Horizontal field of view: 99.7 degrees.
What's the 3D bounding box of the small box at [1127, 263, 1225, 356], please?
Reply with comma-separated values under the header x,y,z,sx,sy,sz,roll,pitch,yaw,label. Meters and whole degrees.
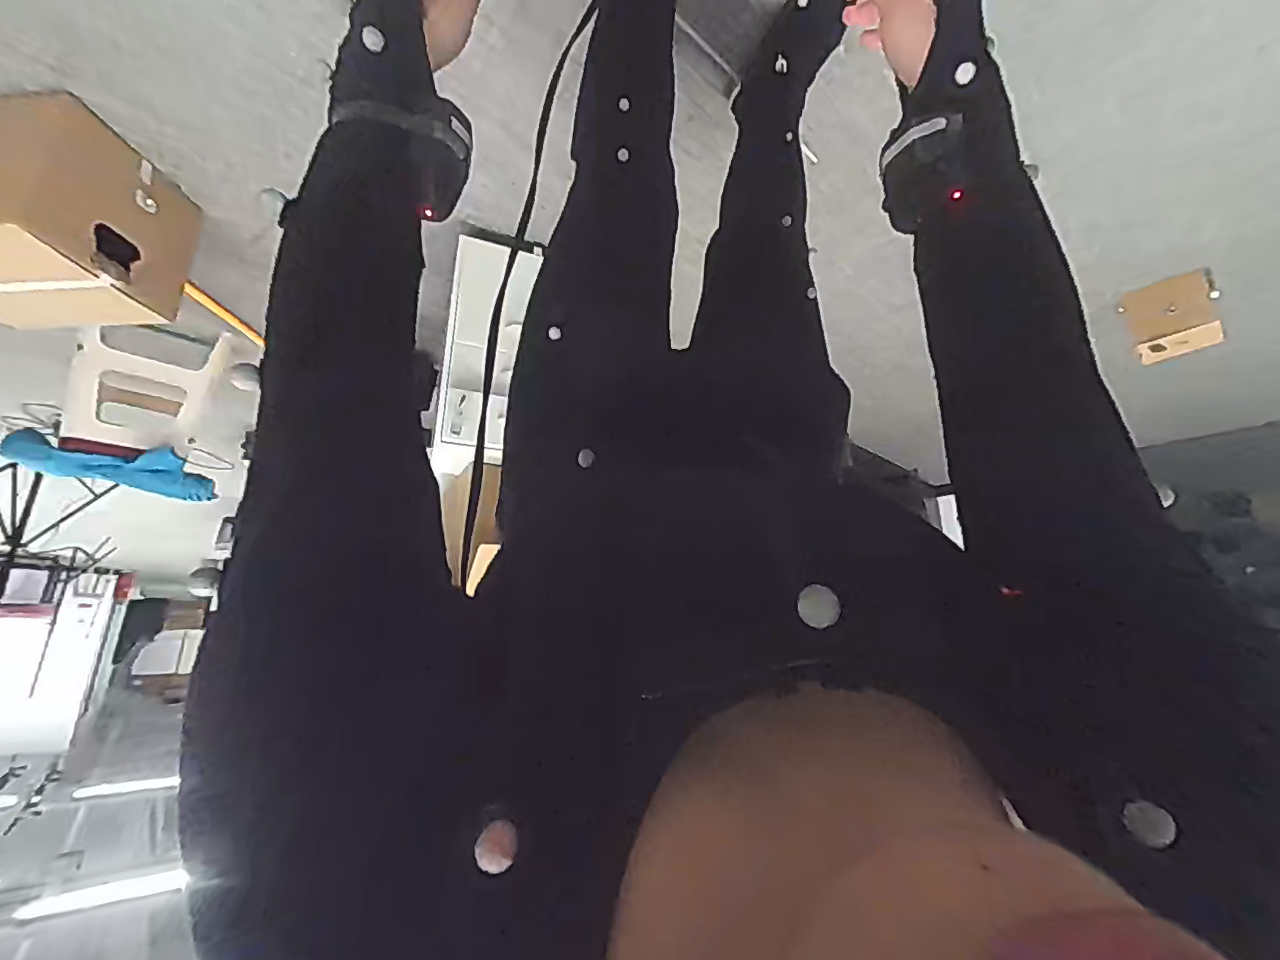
x,y,z,sx,sy,sz,roll,pitch,yaw,label
1.556,-0.493,1.575,0.168,0.176,0.179,15,158,-40,small box
